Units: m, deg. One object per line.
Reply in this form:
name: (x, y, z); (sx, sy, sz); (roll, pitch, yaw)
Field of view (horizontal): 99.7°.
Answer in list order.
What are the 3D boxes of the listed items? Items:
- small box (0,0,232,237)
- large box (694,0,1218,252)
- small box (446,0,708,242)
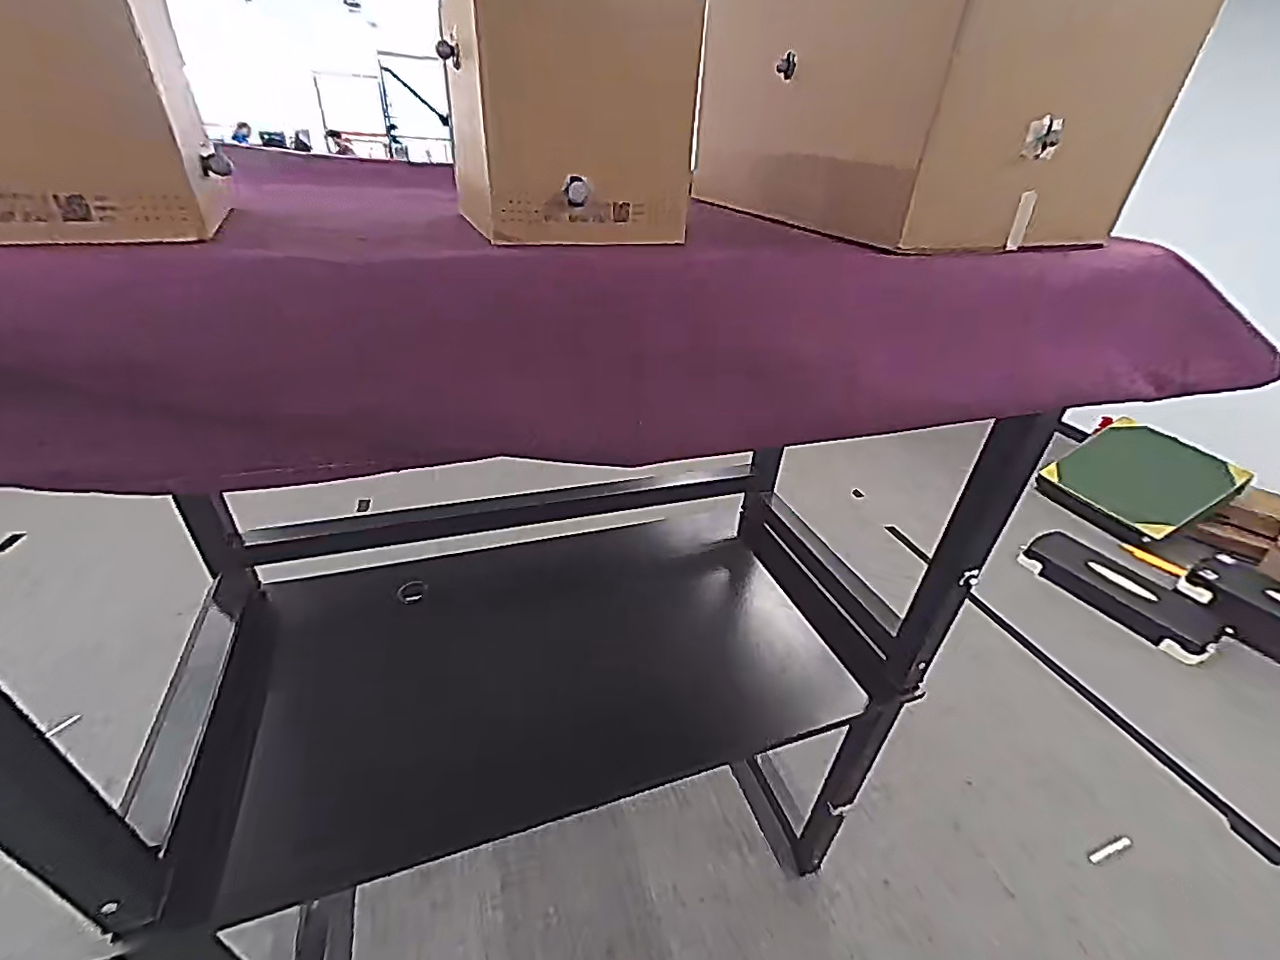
small box: (-0.387, -0.258, 0.342); (0.168, 0.176, 0.179); (-13, 36, -25)
large box: (0.294, -0.452, 0.596); (0.320, 0.320, 0.408); (-10, 34, -21)
small box: (-0.063, -0.307, 0.456); (0.168, 0.176, 0.179); (-11, 36, -21)
